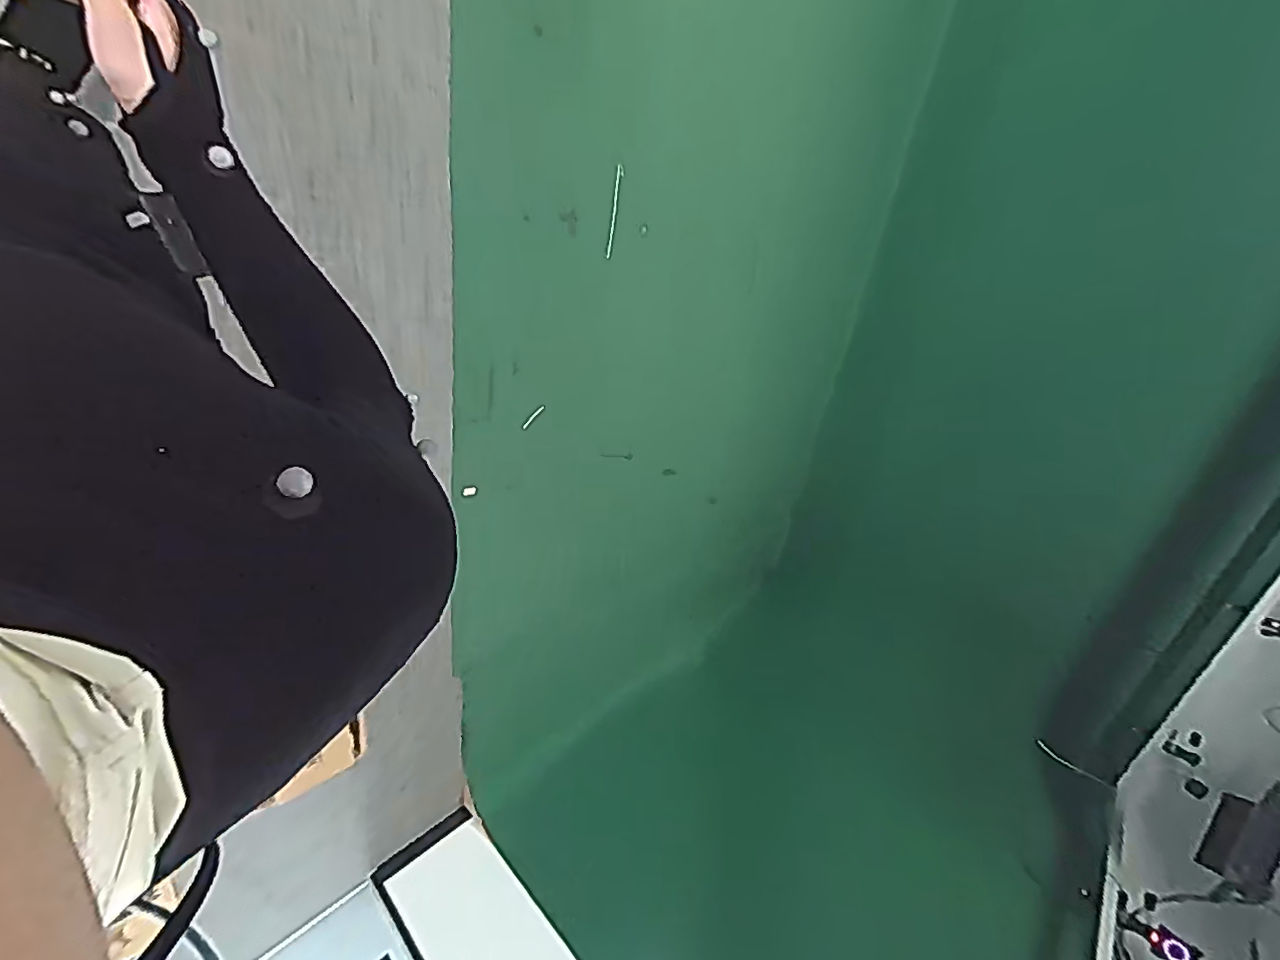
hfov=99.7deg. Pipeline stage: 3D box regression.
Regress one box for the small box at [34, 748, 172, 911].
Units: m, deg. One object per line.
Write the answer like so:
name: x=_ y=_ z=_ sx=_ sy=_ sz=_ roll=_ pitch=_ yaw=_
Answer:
small box: x=-1.069 y=0.685 z=1.081 sx=0.168 sy=0.176 sz=0.179 roll=-15 pitch=123 yaw=-44
